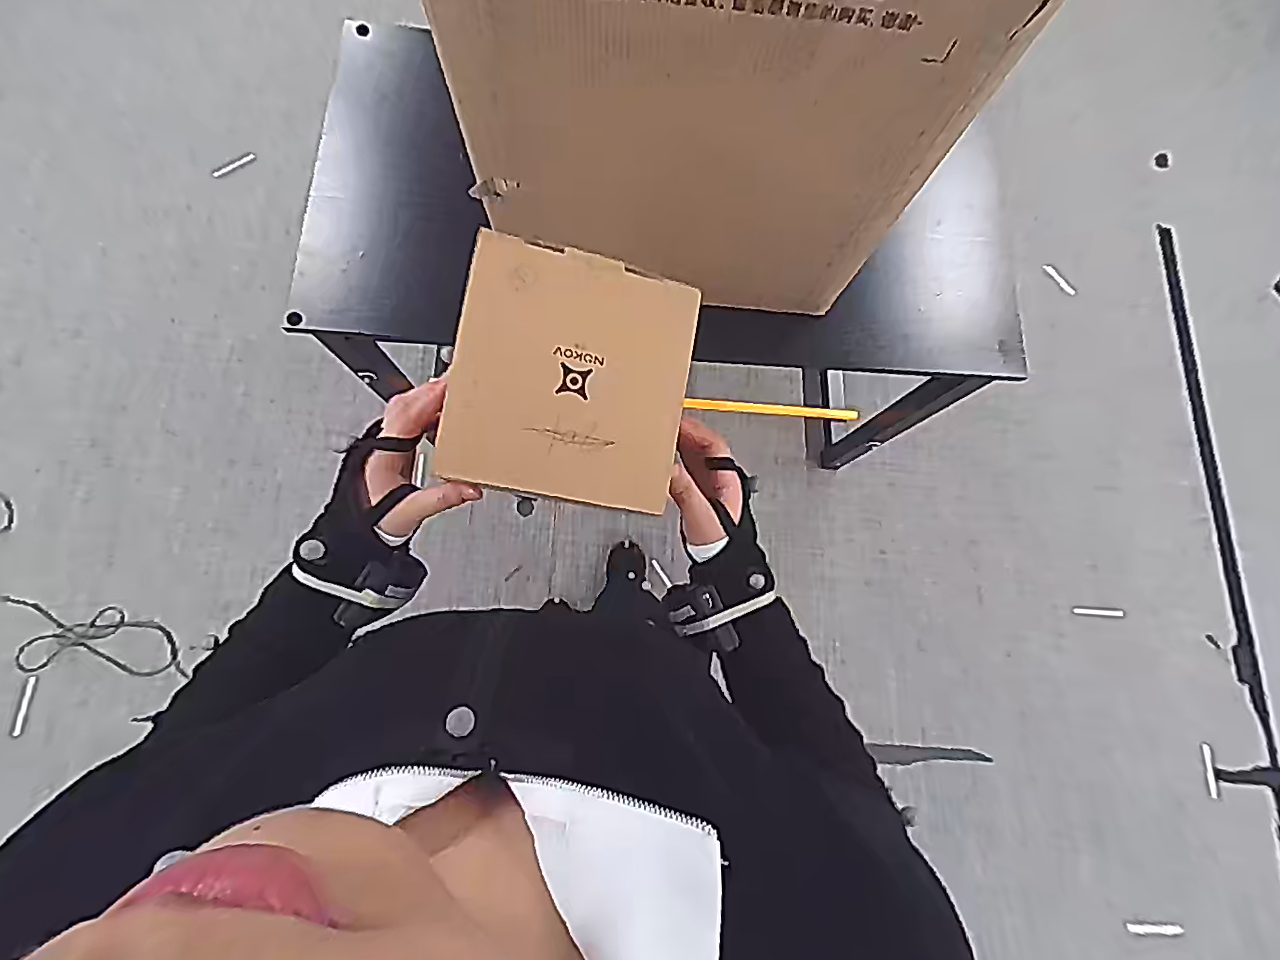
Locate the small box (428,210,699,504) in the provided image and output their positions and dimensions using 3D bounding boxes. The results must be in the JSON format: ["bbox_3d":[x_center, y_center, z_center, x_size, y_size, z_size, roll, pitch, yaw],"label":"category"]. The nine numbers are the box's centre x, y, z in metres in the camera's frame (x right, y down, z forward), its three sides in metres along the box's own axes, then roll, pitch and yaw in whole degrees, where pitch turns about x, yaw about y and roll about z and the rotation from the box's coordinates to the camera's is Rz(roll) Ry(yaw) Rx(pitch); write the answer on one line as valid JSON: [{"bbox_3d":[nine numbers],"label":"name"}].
[{"bbox_3d":[-0.067,-0.080,0.450,0.168,0.176,0.179,10,87,-13],"label":"small box"}]
